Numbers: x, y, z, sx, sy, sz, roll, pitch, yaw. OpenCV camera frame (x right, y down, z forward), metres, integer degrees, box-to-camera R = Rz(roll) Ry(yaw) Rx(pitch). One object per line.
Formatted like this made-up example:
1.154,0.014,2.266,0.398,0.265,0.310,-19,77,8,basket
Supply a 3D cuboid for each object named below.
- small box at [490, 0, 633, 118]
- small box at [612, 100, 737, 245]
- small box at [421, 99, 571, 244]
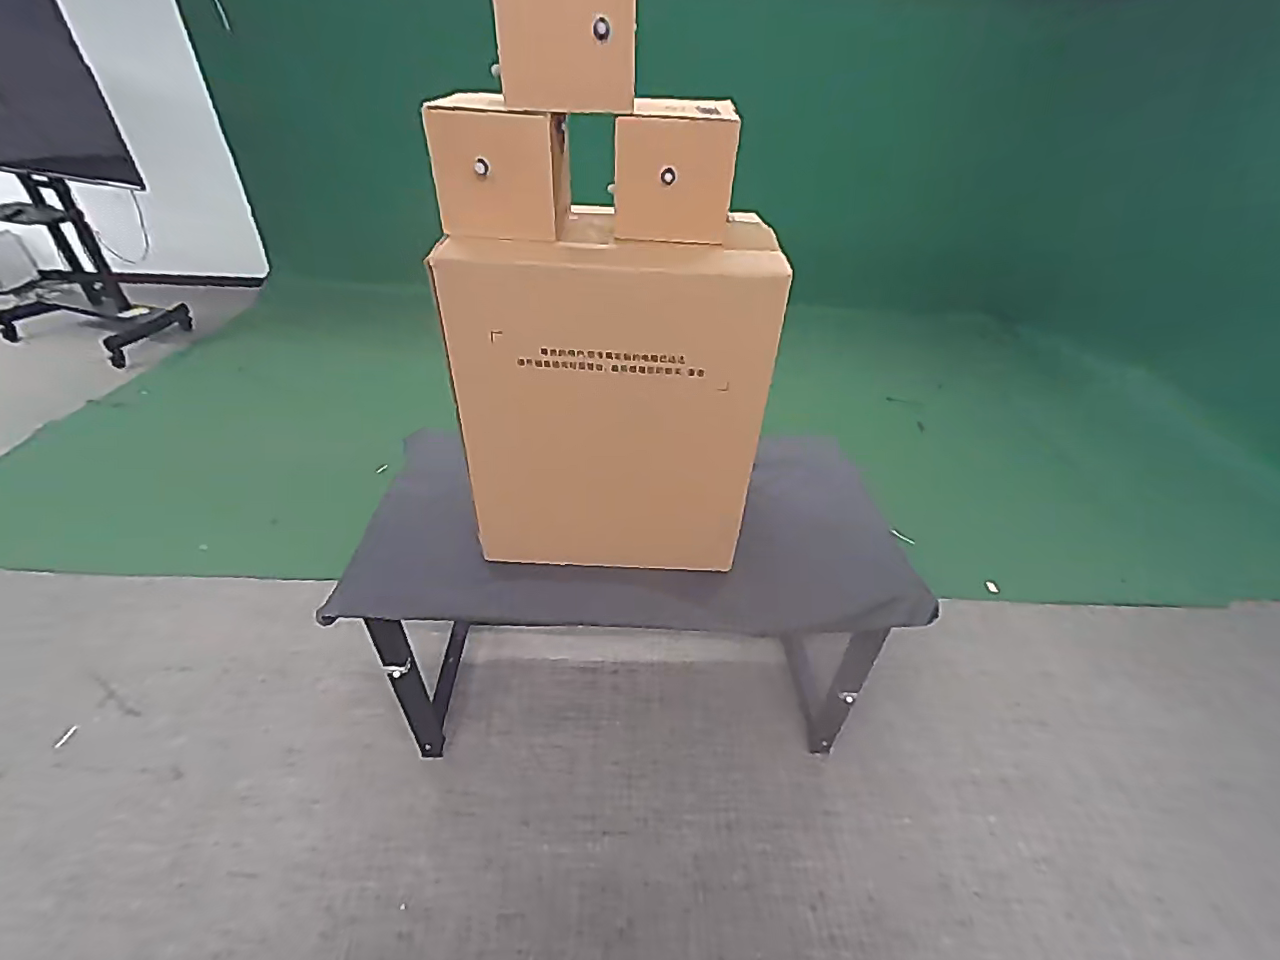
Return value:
-0.104,-0.601,0.737,0.179,0.176,0.168,-5,40,-7,small box
0.050,-0.484,0.854,0.179,0.176,0.168,2,42,2,small box
-0.208,-0.477,0.839,0.179,0.176,0.168,3,42,1,small box
